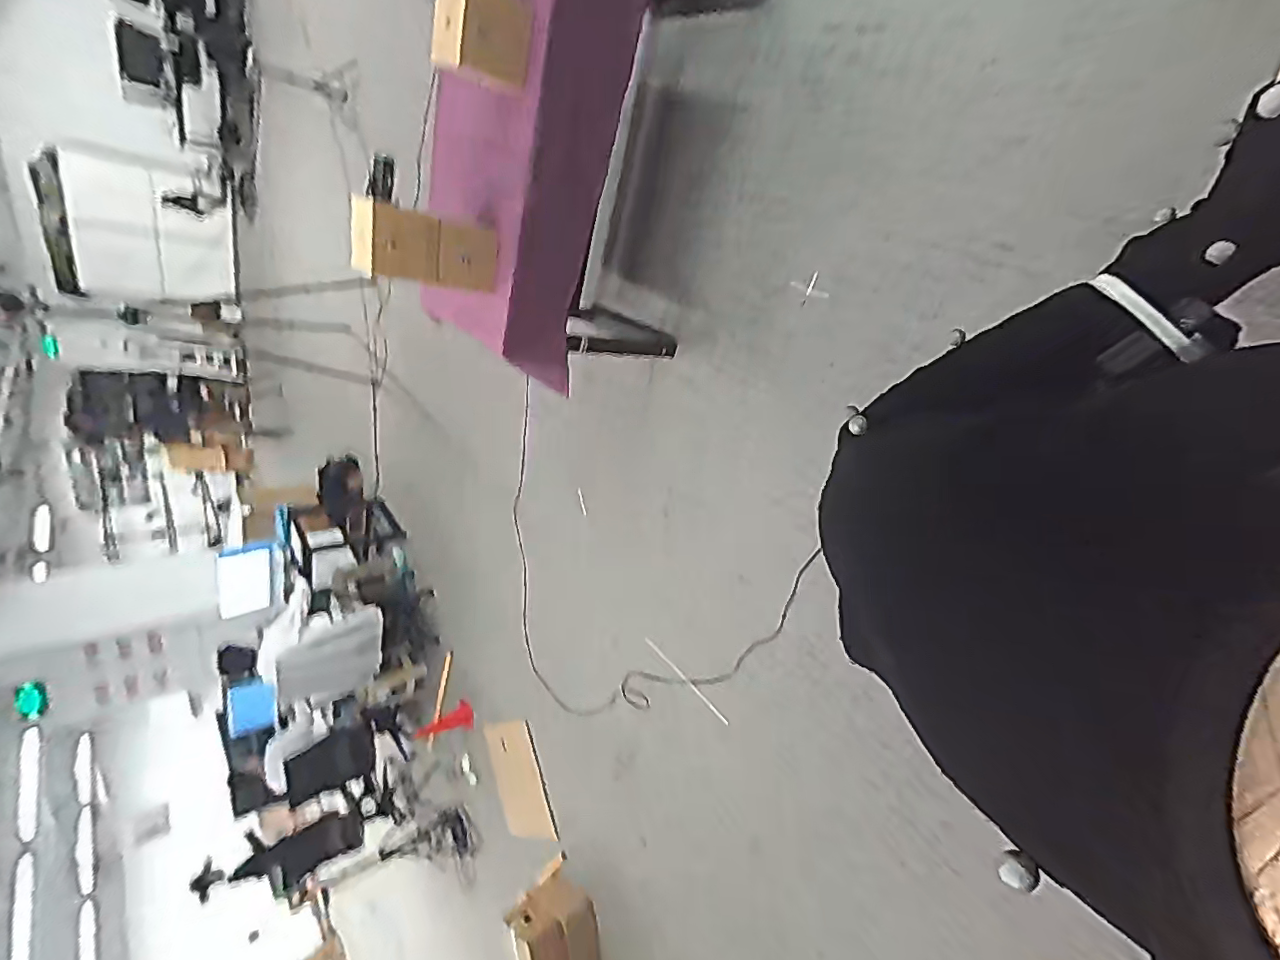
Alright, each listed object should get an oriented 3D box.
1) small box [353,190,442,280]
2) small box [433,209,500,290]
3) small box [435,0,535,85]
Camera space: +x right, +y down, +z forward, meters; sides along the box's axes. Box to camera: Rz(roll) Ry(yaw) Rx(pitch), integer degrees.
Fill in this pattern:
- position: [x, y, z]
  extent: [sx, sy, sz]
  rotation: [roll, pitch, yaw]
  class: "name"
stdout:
- position: [-0.629, -0.634, 1.407]
  extent: [0.168, 0.176, 0.179]
  rotation: [32, 120, 40]
  class: "small box"
- position: [-0.510, -0.646, 1.517]
  extent: [0.168, 0.176, 0.179]
  rotation: [34, 121, 40]
  class: "small box"
- position: [-0.371, -1.080, 1.295]
  extent: [0.168, 0.176, 0.179]
  rotation: [40, 124, 35]
  class: "small box"
